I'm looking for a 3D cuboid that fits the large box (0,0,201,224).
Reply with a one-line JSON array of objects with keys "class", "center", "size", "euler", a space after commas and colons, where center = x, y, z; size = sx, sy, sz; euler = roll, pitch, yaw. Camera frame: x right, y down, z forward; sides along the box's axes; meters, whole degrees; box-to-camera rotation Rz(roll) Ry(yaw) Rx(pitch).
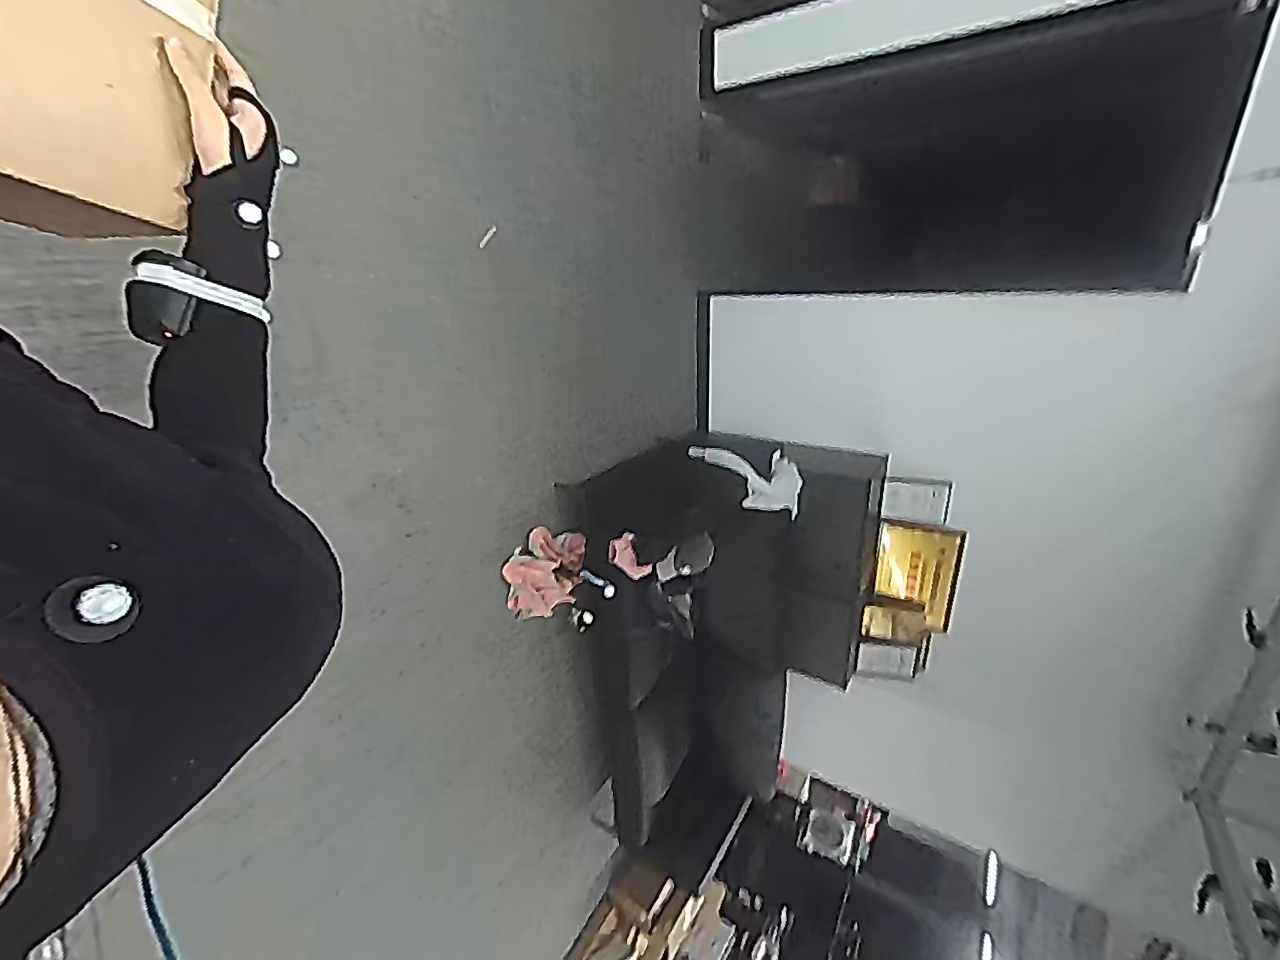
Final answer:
[{"class": "large box", "center": [-0.578, -0.388, 0.338], "size": [0.408, 0.320, 0.320], "euler": [0, 102, -59]}]
